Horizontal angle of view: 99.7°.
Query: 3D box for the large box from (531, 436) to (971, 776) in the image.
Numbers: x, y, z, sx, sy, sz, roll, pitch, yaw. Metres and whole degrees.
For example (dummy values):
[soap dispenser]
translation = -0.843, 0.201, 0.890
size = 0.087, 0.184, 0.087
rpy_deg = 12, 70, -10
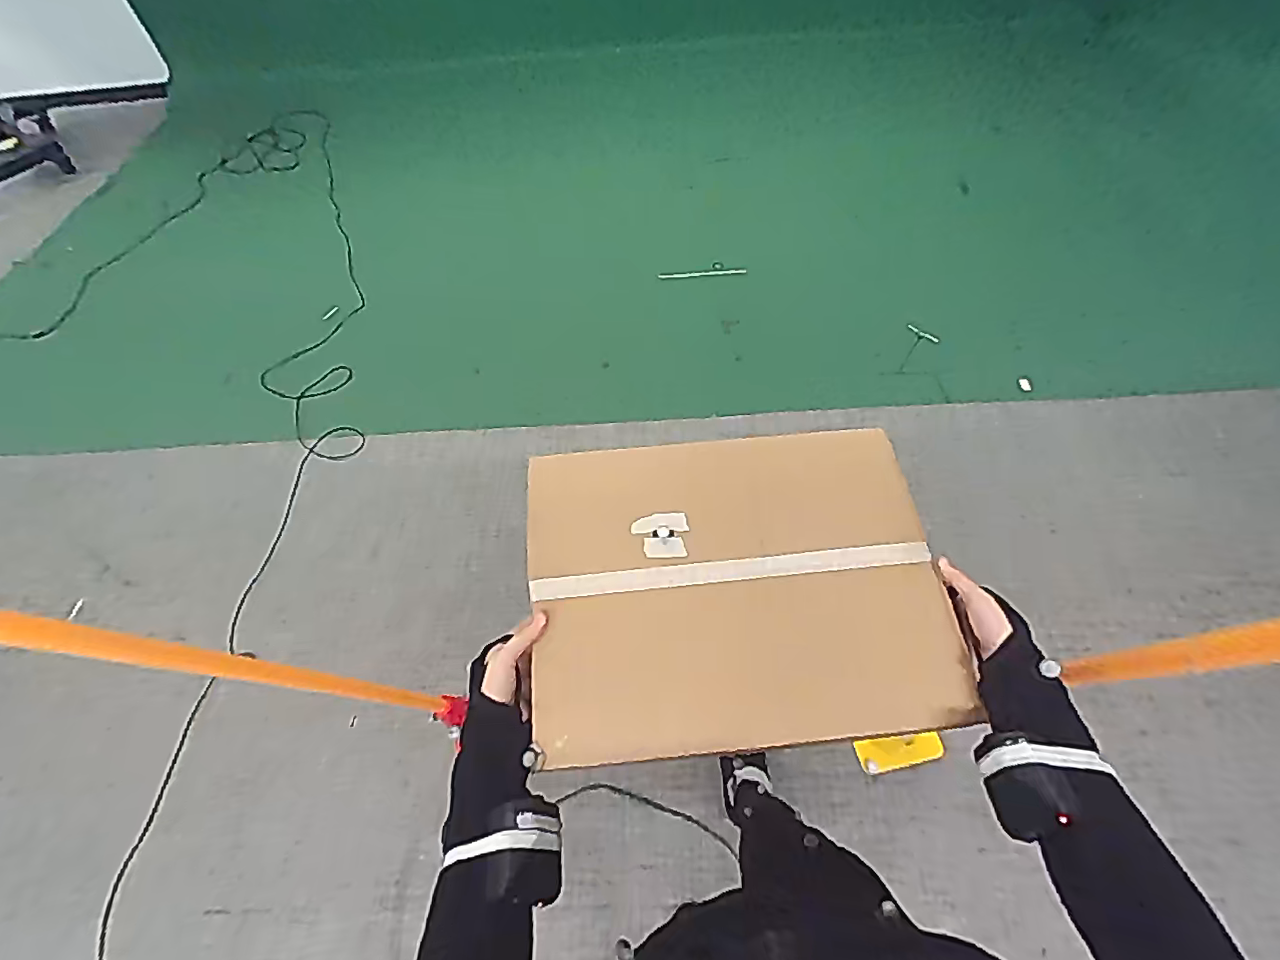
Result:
[large box]
translation = 0.095, 0.174, 0.684
size = 0.408, 0.320, 0.320
rpy_deg = -6, 61, -2
